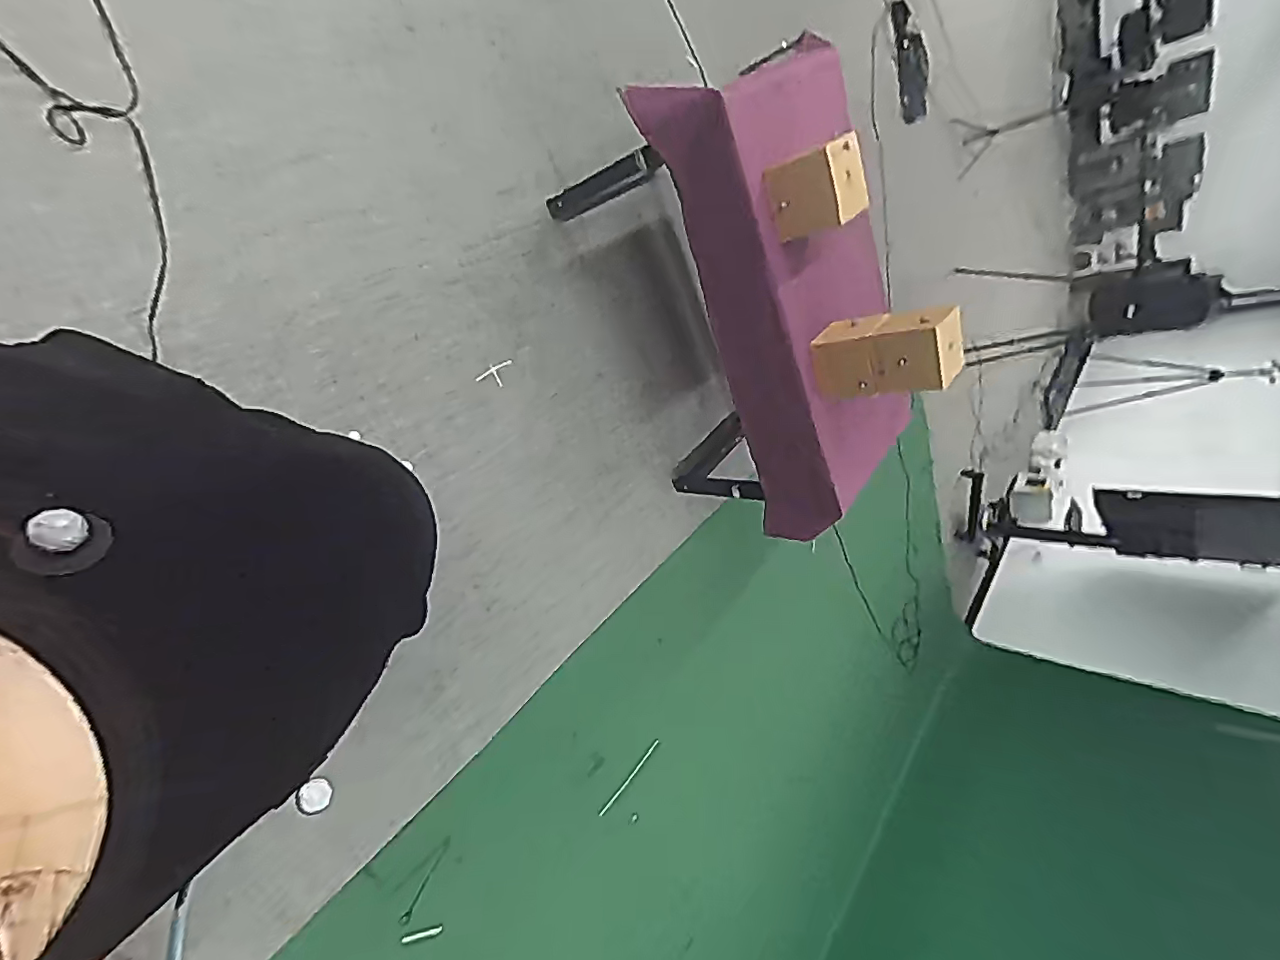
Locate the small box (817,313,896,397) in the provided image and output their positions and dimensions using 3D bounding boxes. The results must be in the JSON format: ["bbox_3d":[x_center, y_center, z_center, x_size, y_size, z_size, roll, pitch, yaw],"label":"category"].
[{"bbox_3d":[0.618,-0.346,1.520,0.168,0.176,0.179,-40,120,-33],"label":"small box"}]

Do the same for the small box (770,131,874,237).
[{"bbox_3d":[0.444,-0.715,1.323,0.168,0.176,0.179,-42,121,-33],"label":"small box"}]

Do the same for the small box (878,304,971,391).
[{"bbox_3d":[0.734,-0.338,1.403,0.179,0.176,0.168,-38,119,-34],"label":"small box"}]
